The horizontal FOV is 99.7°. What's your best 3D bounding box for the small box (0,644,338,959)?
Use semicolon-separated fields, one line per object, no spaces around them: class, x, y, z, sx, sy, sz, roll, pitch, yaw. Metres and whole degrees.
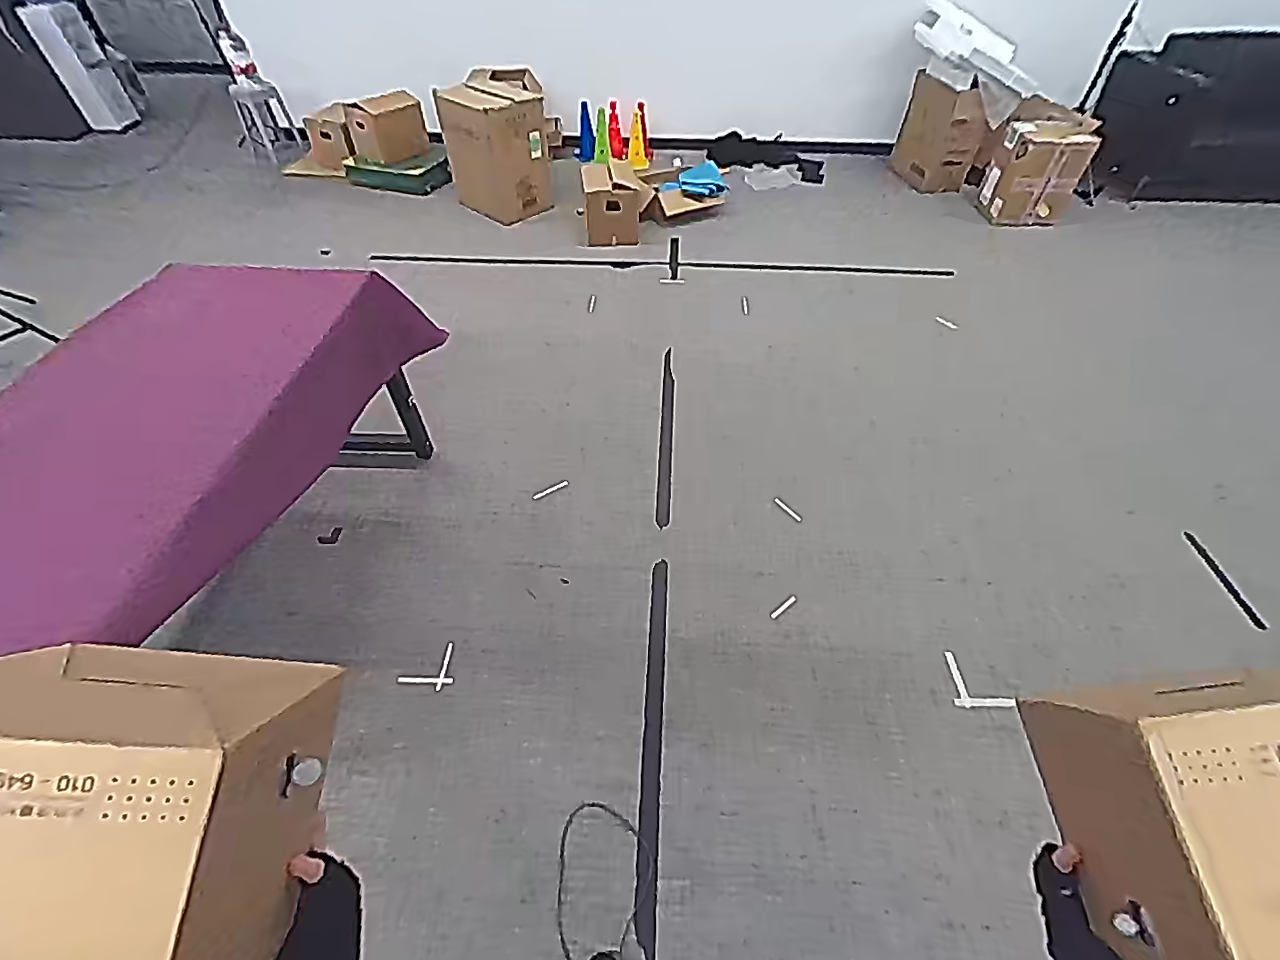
small box;-0.272;0.177;0.259;0.168;0.179;0.176;10;79;-12

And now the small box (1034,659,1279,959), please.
small box;0.374;0.204;0.315;0.168;0.179;0.176;-12;70;12
